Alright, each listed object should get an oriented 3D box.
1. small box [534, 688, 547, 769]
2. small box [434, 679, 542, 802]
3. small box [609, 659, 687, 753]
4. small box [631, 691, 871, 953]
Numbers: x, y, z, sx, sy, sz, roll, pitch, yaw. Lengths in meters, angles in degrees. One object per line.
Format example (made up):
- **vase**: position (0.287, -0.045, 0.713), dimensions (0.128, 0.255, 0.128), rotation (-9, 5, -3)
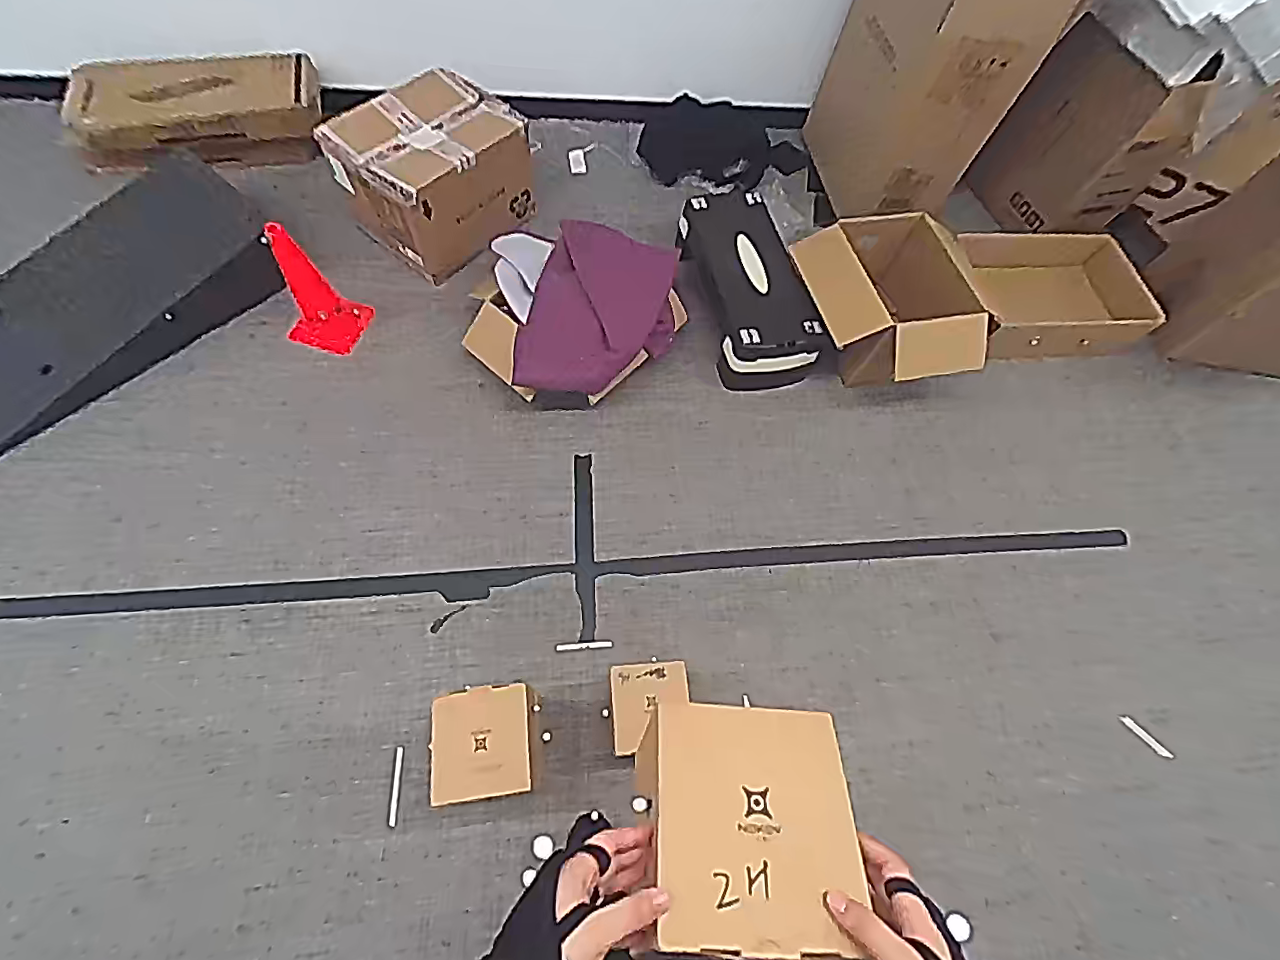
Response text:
- **small box**: position (-0.297, 0.550, 1.161), dimensions (0.179, 0.176, 0.168), rotation (-4, 66, -8)
- **small box**: position (-0.279, 0.483, 1.014), dimensions (0.168, 0.176, 0.179), rotation (-7, 67, -7)
- **small box**: position (0.016, 0.505, 1.214), dimensions (0.168, 0.176, 0.179), rotation (-2, 66, -6)
- **small box**: position (0.083, 0.322, 0.508), dimensions (0.168, 0.176, 0.179), rotation (5, 47, -4)
